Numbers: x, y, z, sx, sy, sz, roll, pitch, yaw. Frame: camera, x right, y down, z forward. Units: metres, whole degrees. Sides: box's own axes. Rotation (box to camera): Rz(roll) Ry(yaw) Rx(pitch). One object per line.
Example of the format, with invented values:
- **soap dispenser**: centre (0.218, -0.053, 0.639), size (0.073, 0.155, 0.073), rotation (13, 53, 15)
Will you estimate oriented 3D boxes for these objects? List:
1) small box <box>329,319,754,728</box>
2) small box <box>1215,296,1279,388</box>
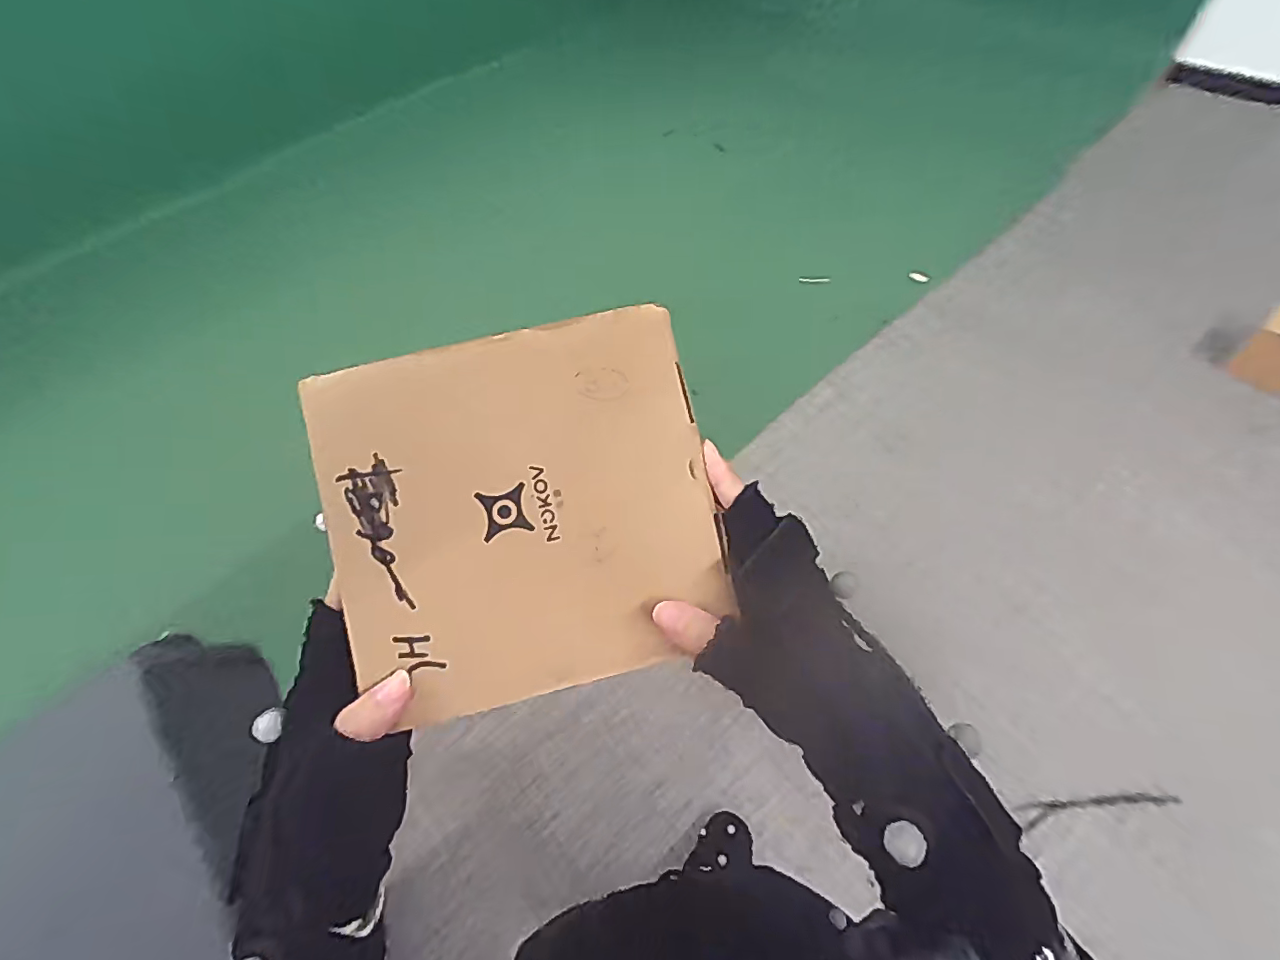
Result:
- **small box**: centre (-0.050, 0.022, 0.333), size (0.179, 0.176, 0.168), rotation (-12, 85, -4)
- **small box**: centre (1.845, -0.392, 1.553), size (0.168, 0.176, 0.179), rotation (-39, 60, -17)
